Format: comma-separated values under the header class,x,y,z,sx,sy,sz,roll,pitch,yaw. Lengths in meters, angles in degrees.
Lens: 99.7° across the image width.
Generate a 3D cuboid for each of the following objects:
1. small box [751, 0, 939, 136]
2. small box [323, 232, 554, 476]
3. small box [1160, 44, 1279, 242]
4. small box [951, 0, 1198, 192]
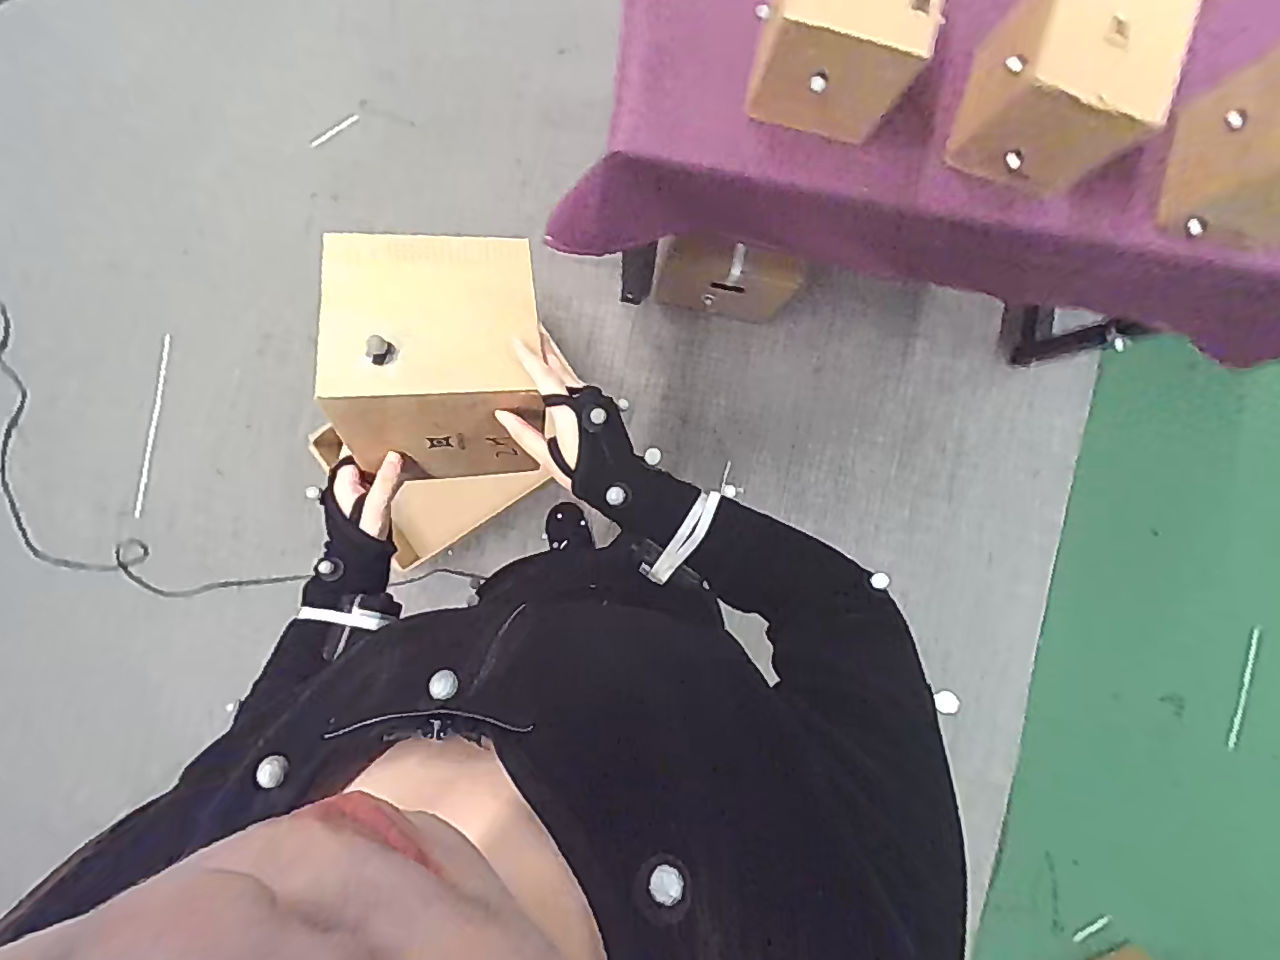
class,x,y,z,sx,sy,sz,roll,pitch,yaw
small box,0.252,-0.574,0.682,0.179,0.176,0.168,12,92,-2
small box,-0.183,-0.115,0.527,0.179,0.168,0.176,-3,70,-14
small box,0.856,-0.444,0.717,0.168,0.176,0.179,12,90,-3
small box,0.544,-0.519,0.701,0.168,0.176,0.179,17,92,-3
